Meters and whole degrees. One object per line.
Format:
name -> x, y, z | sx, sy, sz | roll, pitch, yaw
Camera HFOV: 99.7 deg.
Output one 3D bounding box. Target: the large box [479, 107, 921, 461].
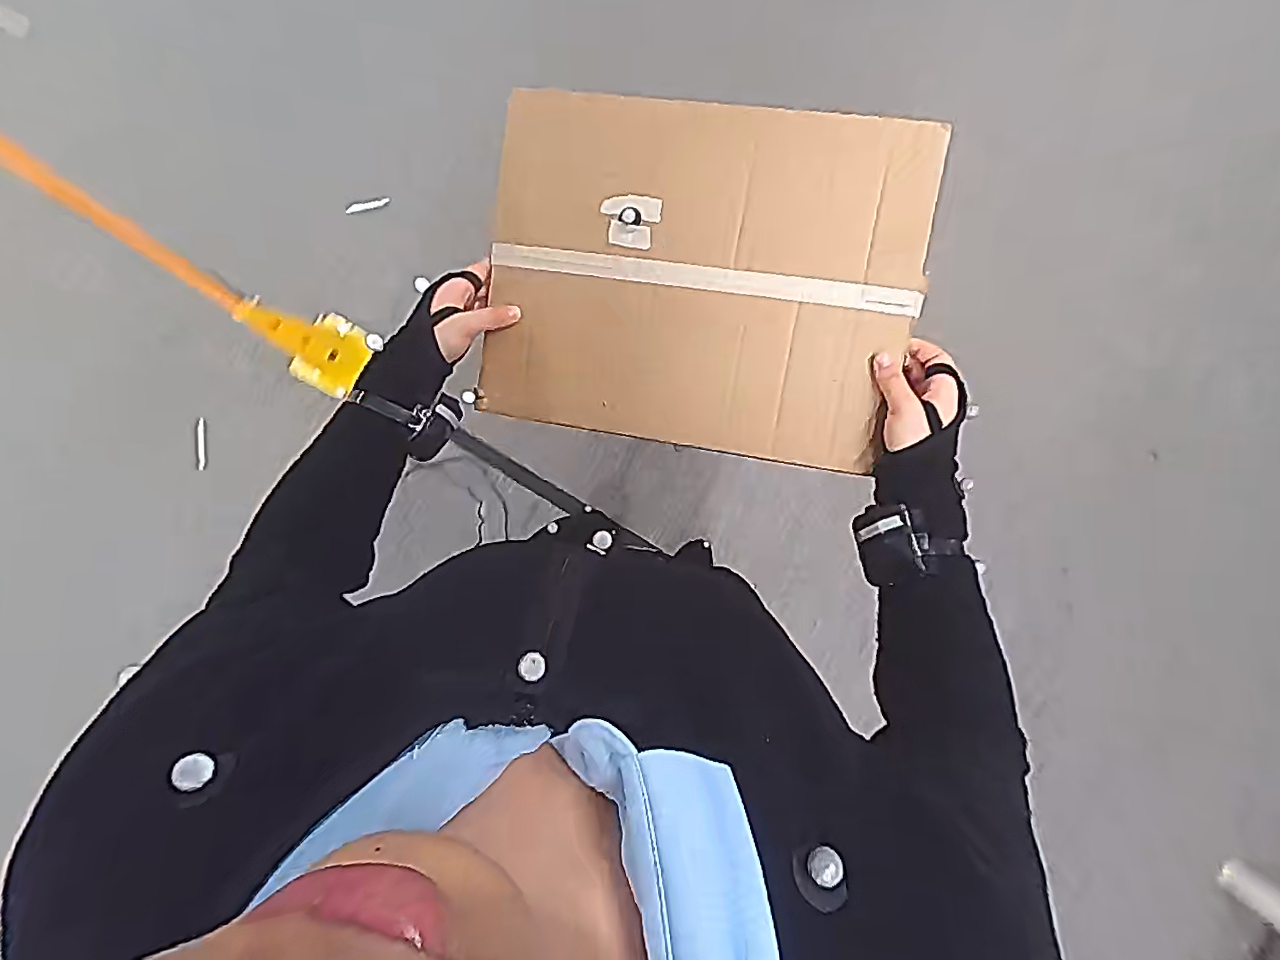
large box -> 0.066, -0.209, 0.671 | 0.408, 0.320, 0.320 | 9, 96, 9
